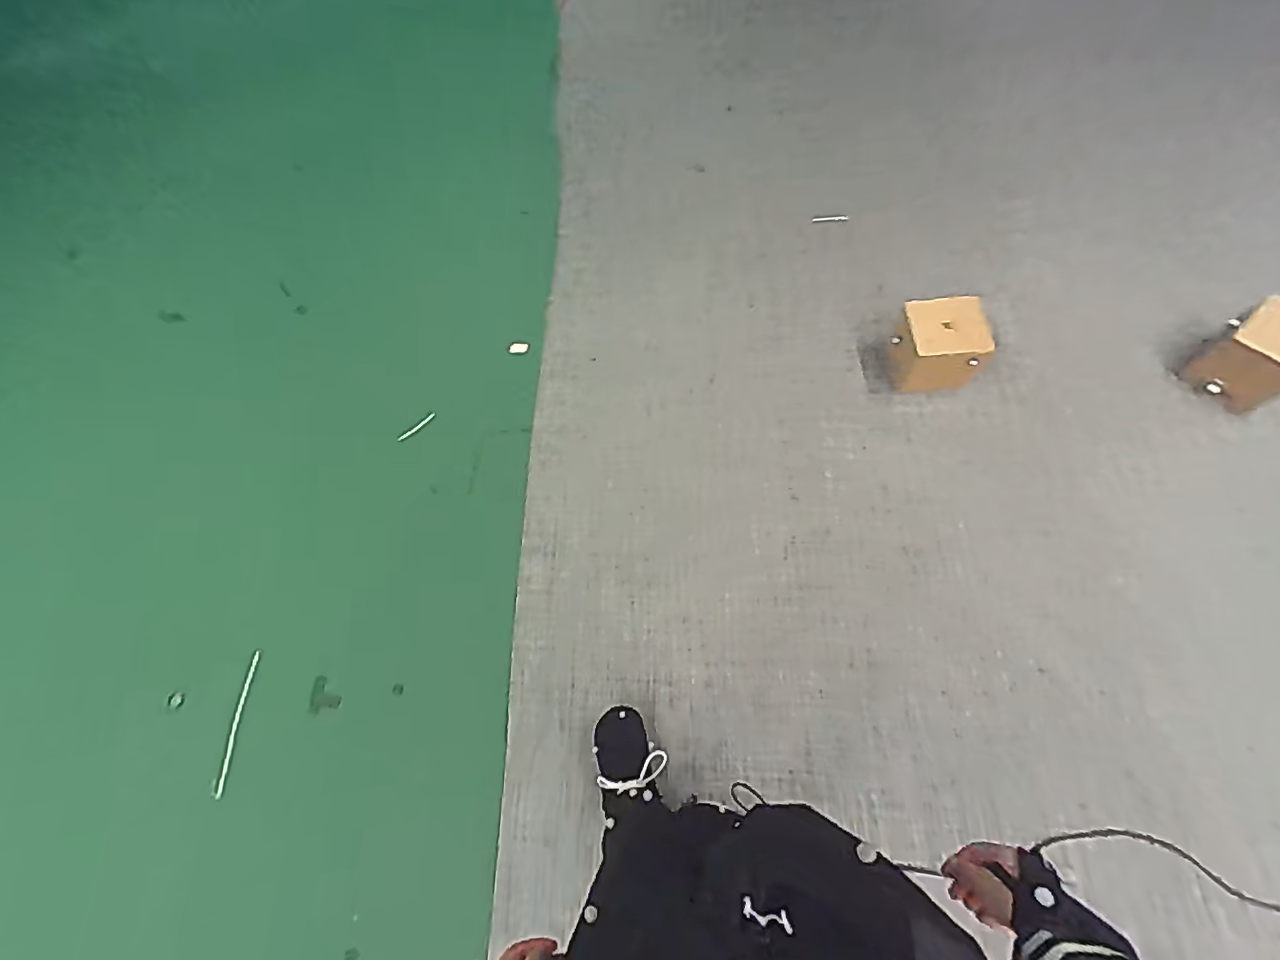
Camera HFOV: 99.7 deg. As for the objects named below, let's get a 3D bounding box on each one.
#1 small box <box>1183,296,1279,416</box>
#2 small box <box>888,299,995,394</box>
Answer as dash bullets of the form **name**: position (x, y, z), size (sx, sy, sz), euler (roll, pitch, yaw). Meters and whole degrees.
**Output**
- **small box**: position (1.457, -0.286, 1.270), size (0.179, 0.176, 0.168), euler (-42, 68, -10)
- **small box**: position (0.748, -0.331, 1.368), size (0.179, 0.176, 0.168), euler (-4, 67, 4)
